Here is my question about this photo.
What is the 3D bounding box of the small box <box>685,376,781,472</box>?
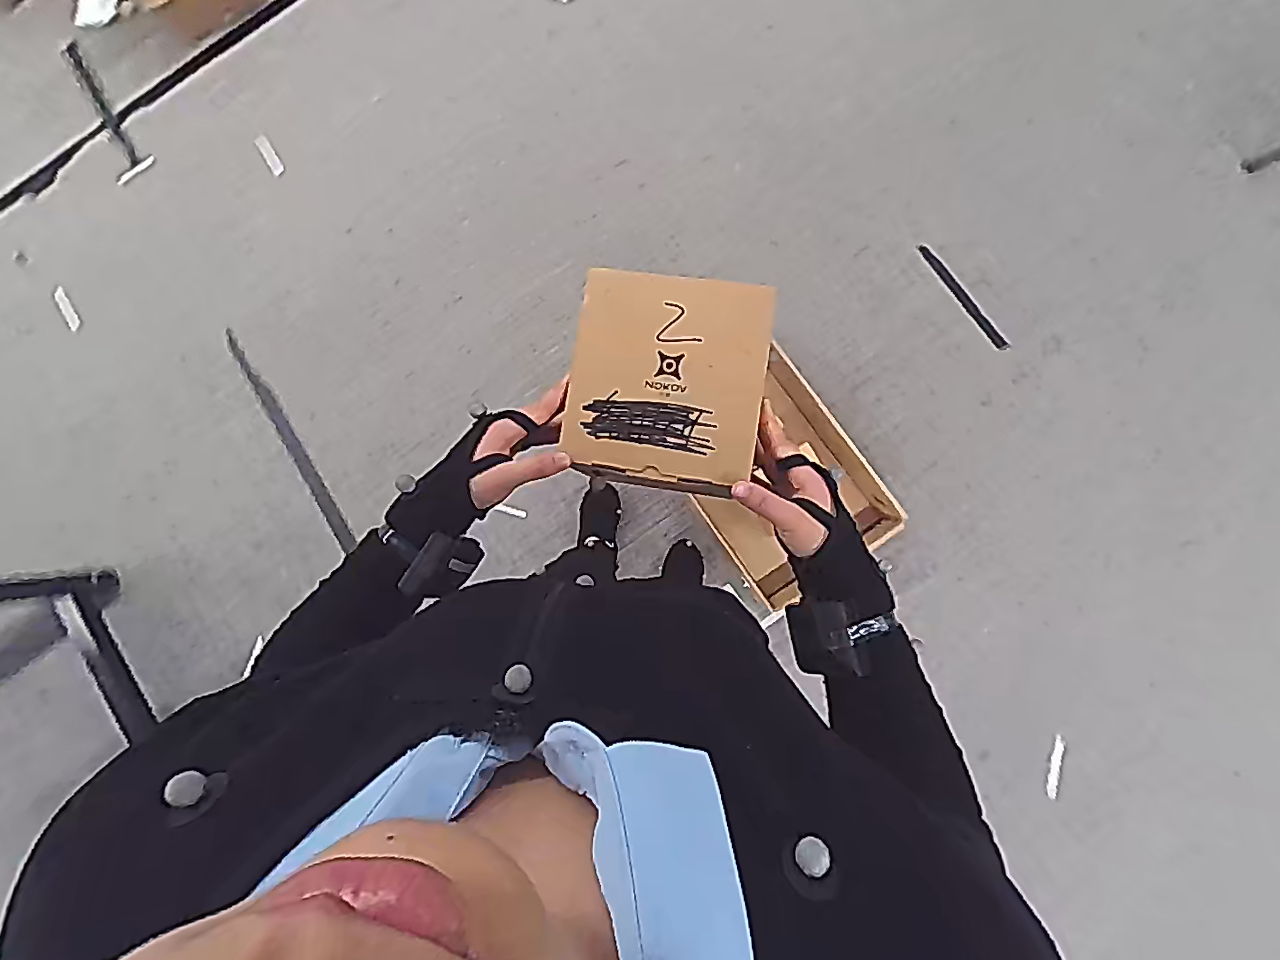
[{"bbox_3d":[0.232,-0.134,1.383,0.179,0.176,0.168,-36,85,1],"label":"small box"}]

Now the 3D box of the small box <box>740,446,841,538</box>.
[{"bbox_3d":[0.369,0.034,1.362,0.179,0.176,0.168,-29,83,2],"label":"small box"}]
